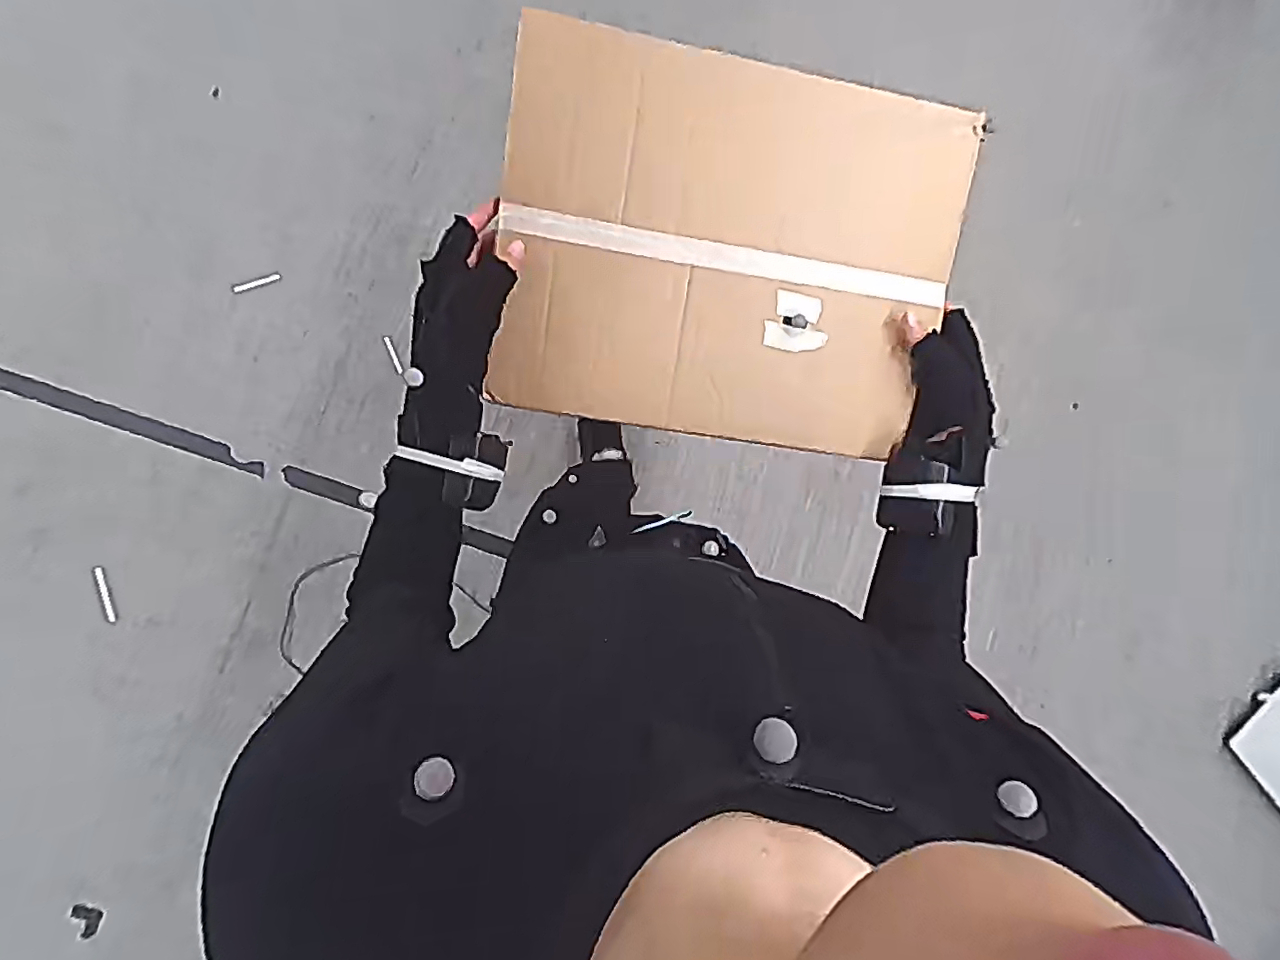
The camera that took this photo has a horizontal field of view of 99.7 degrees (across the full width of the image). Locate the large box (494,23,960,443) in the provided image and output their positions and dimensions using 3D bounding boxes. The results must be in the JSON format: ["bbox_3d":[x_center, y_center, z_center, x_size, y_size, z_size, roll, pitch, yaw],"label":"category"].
[{"bbox_3d":[0.063,-0.236,0.642,0.408,0.320,0.320,8,101,-8],"label":"large box"}]
